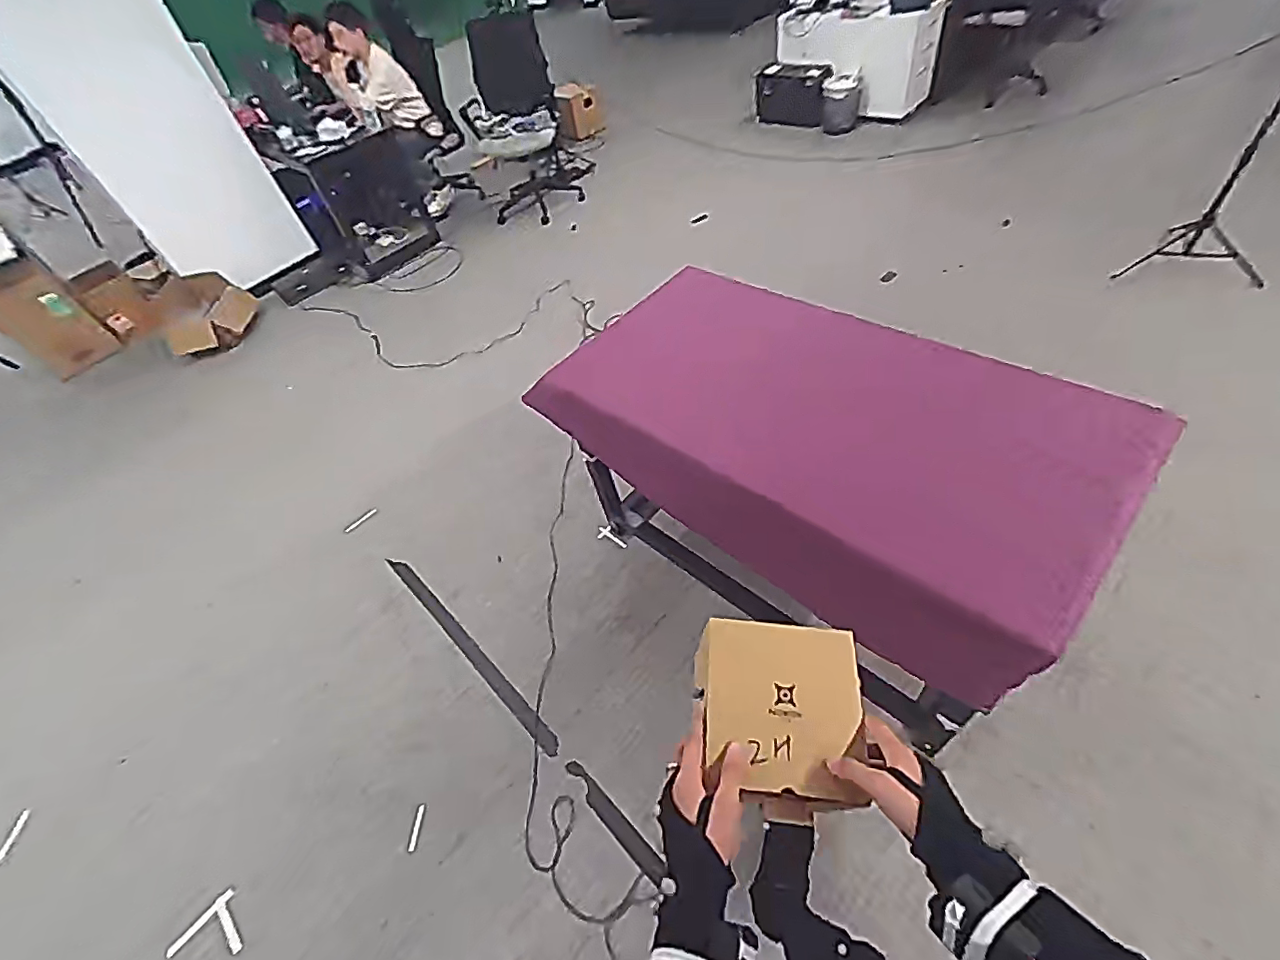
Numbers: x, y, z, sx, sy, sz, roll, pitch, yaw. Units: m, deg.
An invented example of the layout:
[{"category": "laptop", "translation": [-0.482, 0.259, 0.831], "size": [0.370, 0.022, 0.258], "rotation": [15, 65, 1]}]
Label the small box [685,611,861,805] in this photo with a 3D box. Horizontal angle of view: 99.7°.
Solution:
[{"category": "small box", "translation": [0.145, 0.277, 0.650], "size": [0.168, 0.176, 0.179], "rotation": [5, 57, 2]}]
